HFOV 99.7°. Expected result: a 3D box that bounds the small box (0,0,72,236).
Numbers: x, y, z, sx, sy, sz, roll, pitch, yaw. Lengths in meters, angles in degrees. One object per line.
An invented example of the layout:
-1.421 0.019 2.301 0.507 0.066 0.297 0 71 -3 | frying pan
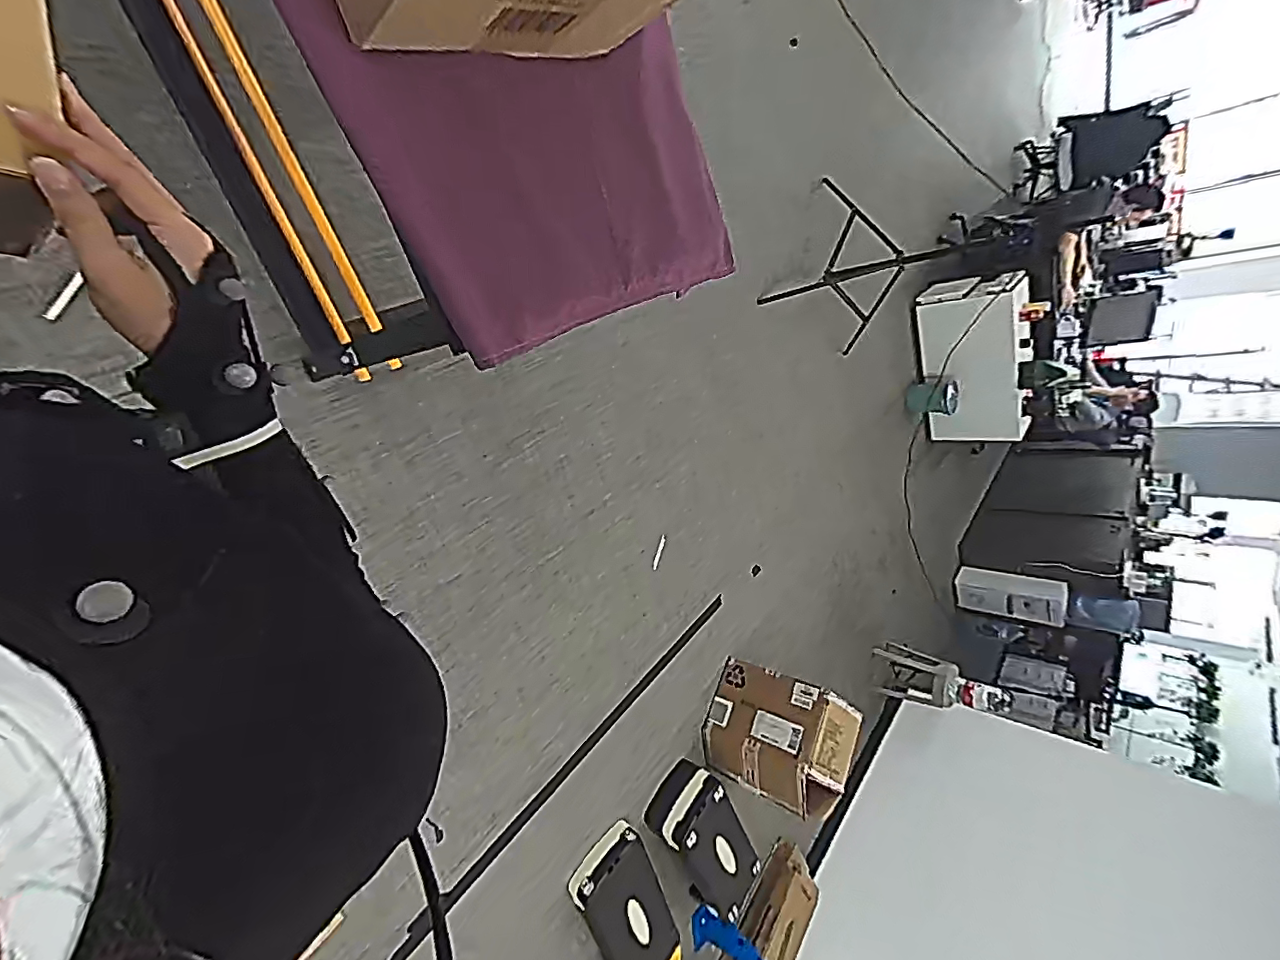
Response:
-0.416 -0.229 0.254 0.179 0.176 0.168 -11 100 -52 | small box
